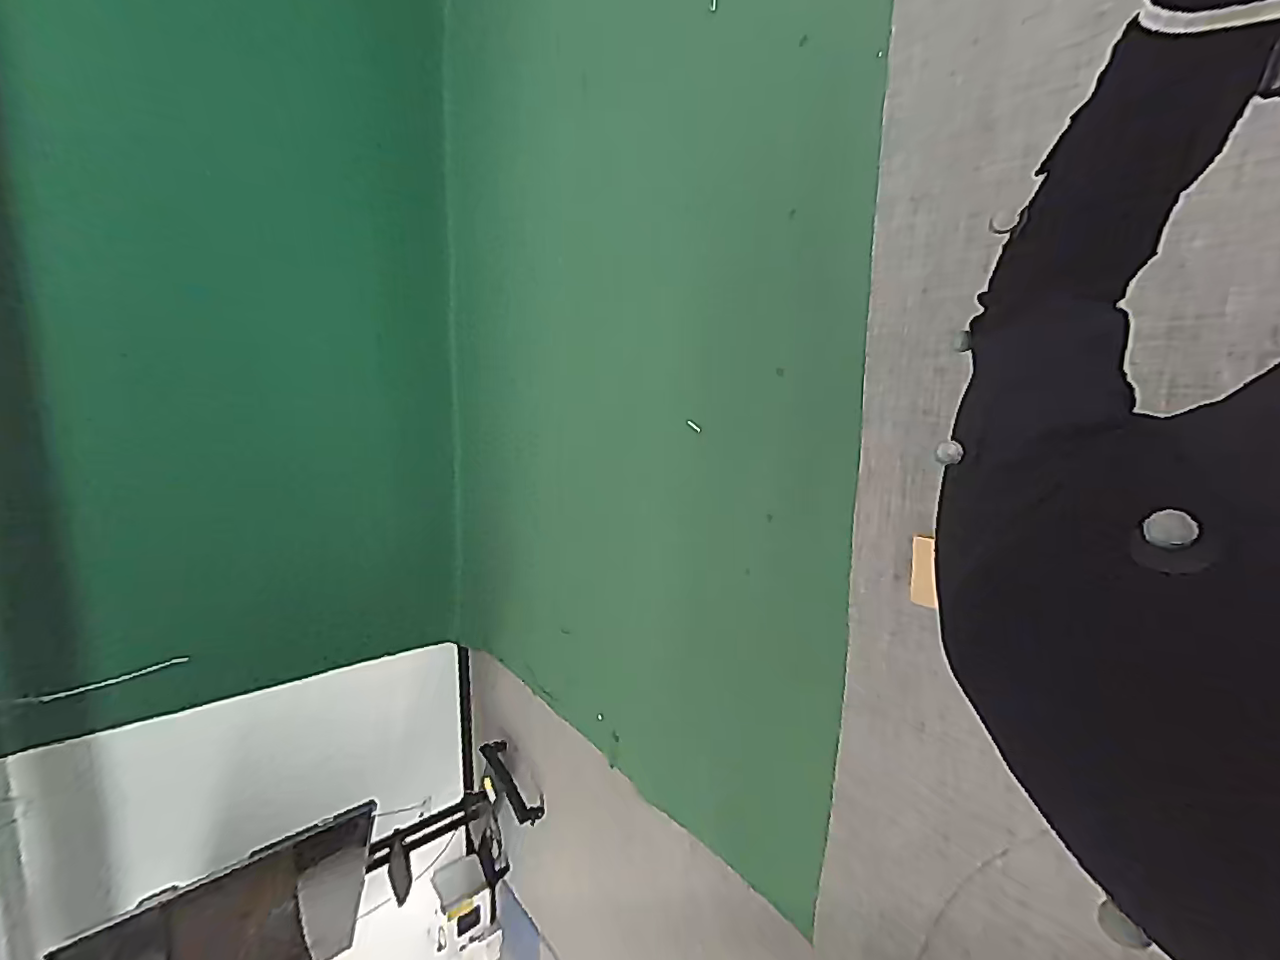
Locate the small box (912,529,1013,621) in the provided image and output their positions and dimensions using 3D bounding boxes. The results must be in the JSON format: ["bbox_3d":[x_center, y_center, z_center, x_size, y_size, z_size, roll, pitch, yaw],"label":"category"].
[{"bbox_3d":[0.795,0.224,1.332,0.168,0.176,0.179,8,100,51],"label":"small box"}]
